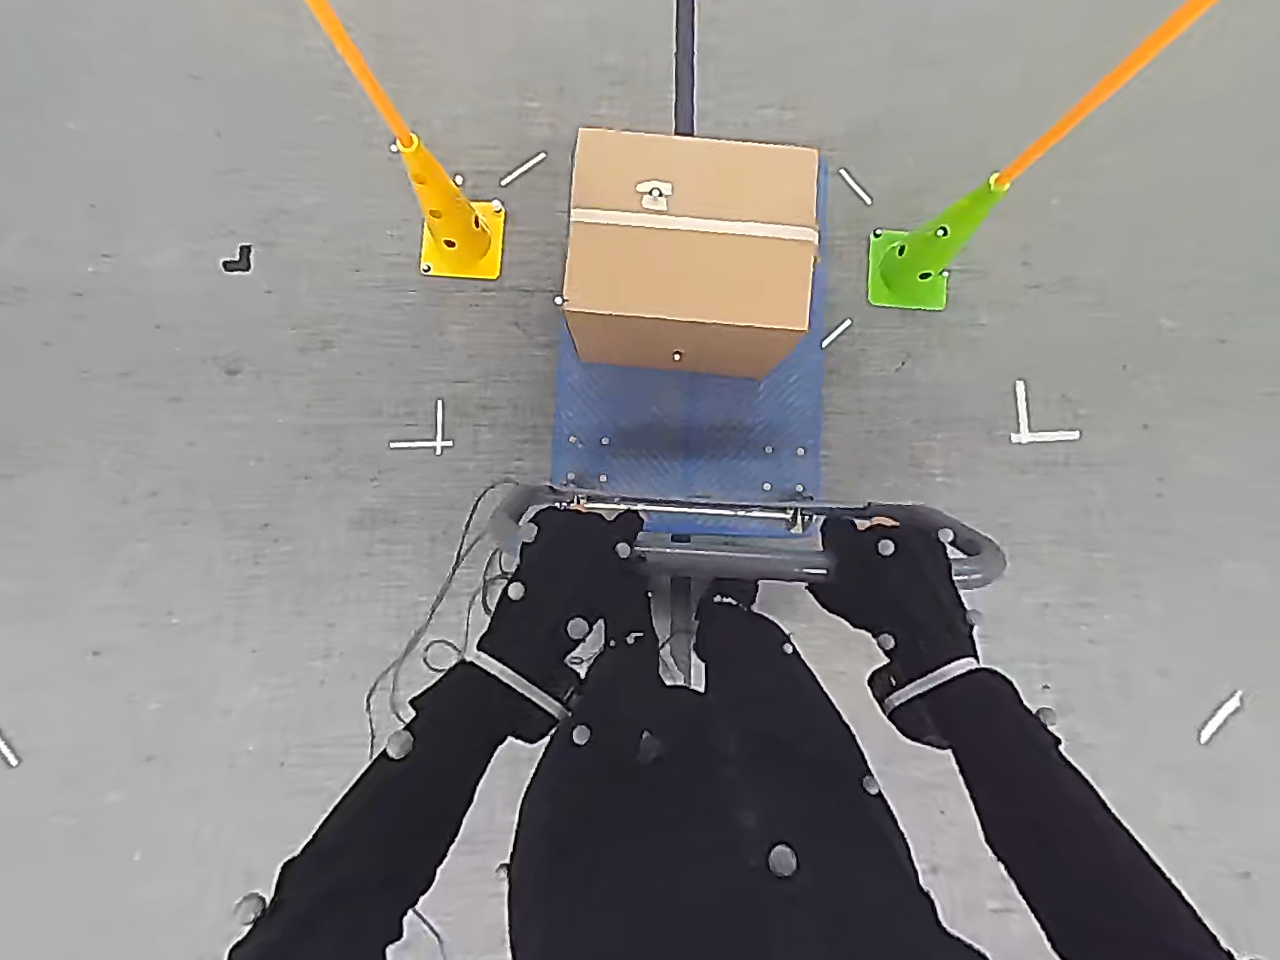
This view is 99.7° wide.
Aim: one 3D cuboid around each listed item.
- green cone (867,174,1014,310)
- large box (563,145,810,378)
[{"bbox_3d":[0.686,-0.550,1.211,0.202,0.368,0.200,4,85,-2],"label":"green cone"},{"bbox_3d":[0.082,-0.392,1.048,0.408,0.320,0.320,5,86,0],"label":"large box"}]
